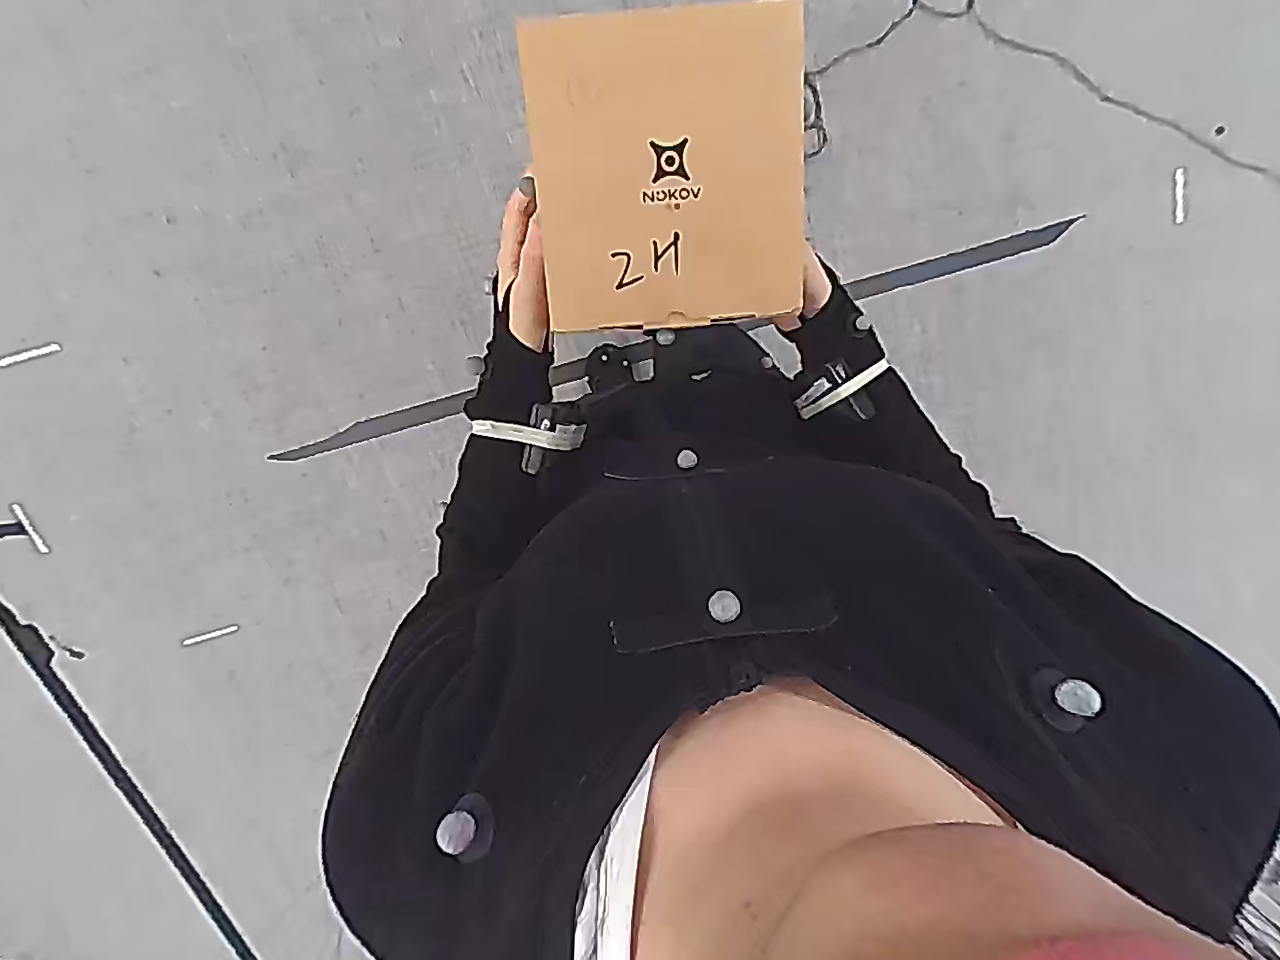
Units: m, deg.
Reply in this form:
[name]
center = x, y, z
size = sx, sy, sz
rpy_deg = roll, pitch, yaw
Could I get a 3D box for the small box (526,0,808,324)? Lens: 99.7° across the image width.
[small box]
center = 0.018, -0.213, 0.406
size = 0.168, 0.176, 0.179
rpy_deg = -4, 106, 0
